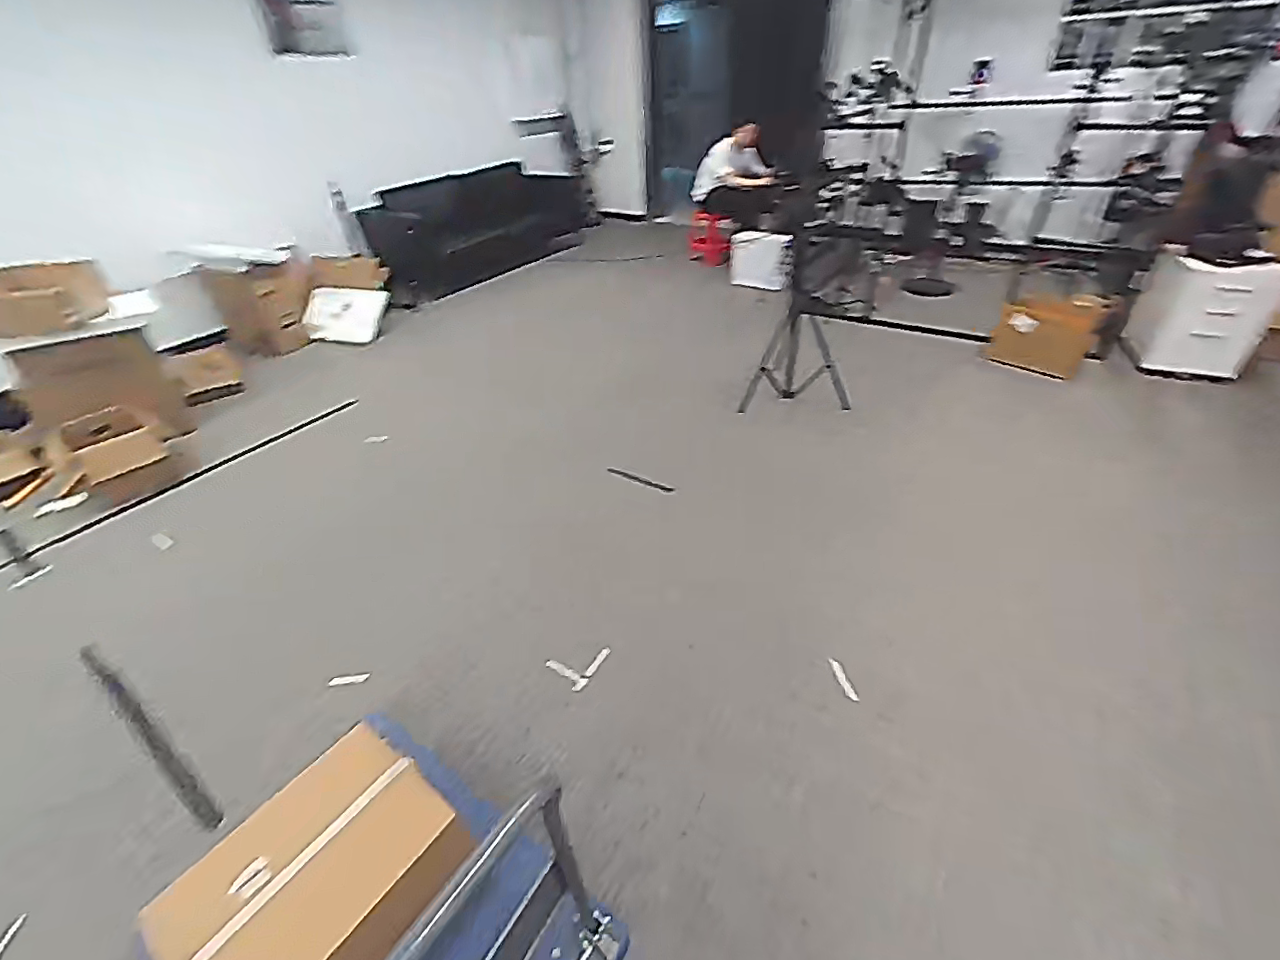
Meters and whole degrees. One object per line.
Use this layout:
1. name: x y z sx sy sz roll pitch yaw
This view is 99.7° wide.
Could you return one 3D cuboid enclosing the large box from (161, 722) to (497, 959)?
1. large box: -0.546 0.773 1.030 0.320 0.320 0.408 22 44 30
